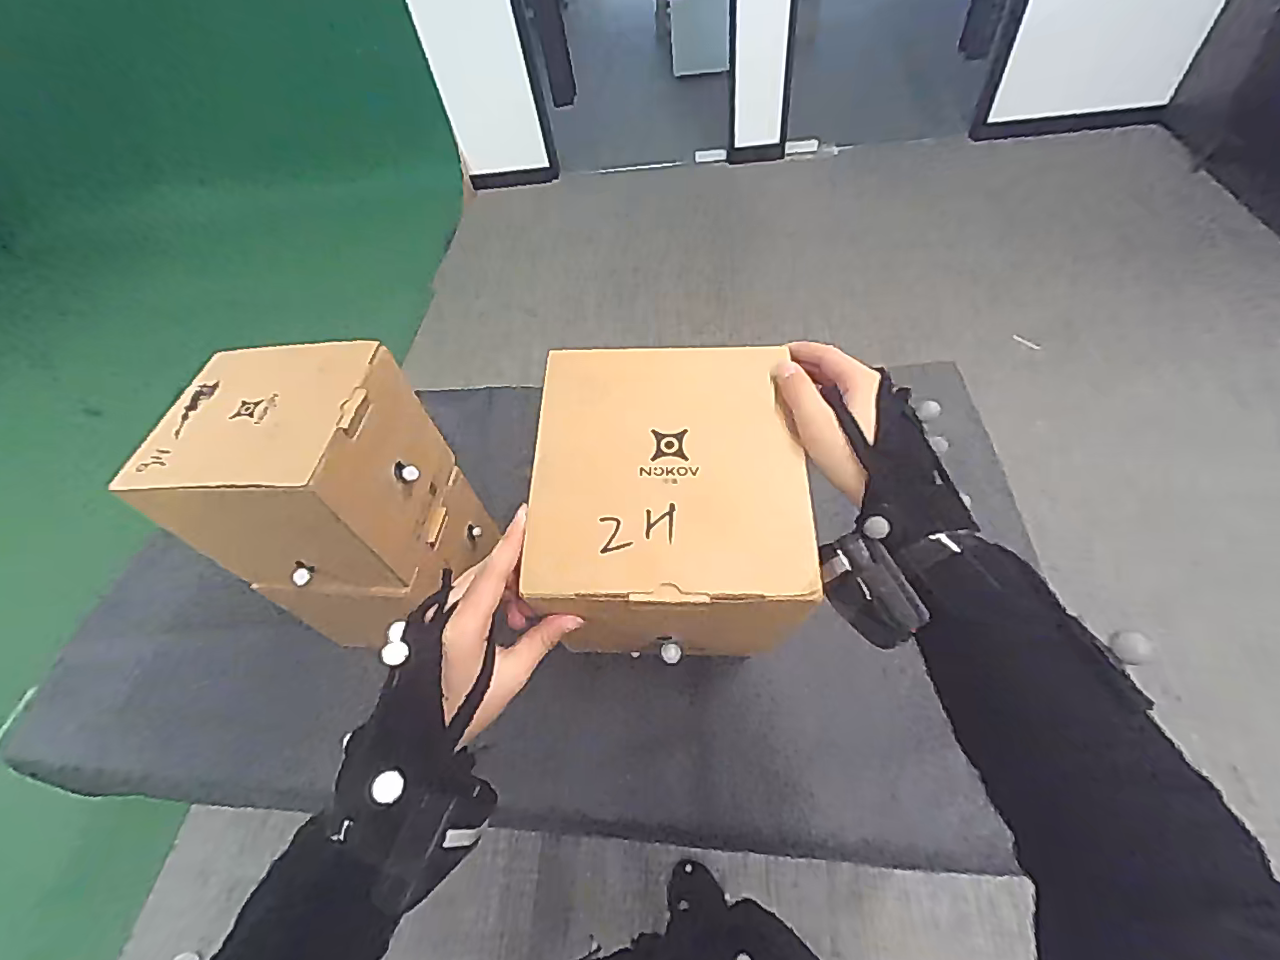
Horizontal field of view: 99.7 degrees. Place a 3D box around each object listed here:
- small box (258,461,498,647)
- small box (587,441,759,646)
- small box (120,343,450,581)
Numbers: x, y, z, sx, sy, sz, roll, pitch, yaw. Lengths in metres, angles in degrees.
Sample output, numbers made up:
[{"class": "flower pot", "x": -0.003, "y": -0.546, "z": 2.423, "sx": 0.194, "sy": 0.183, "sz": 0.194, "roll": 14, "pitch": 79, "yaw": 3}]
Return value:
[{"class": "small box", "x": -0.290, "y": 0.091, "z": 0.649, "sx": 0.179, "sy": 0.176, "sz": 0.168, "roll": -1, "pitch": 52, "yaw": 8}, {"class": "small box", "x": 0.045, "y": 0.076, "z": 0.611, "sx": 0.168, "sy": 0.176, "sz": 0.179, "roll": -1, "pitch": 53, "yaw": 7}, {"class": "small box", "x": -0.310, "y": -0.013, "z": 0.524, "sx": 0.179, "sy": 0.176, "sz": 0.168, "roll": 0, "pitch": 53, "yaw": 7}]
